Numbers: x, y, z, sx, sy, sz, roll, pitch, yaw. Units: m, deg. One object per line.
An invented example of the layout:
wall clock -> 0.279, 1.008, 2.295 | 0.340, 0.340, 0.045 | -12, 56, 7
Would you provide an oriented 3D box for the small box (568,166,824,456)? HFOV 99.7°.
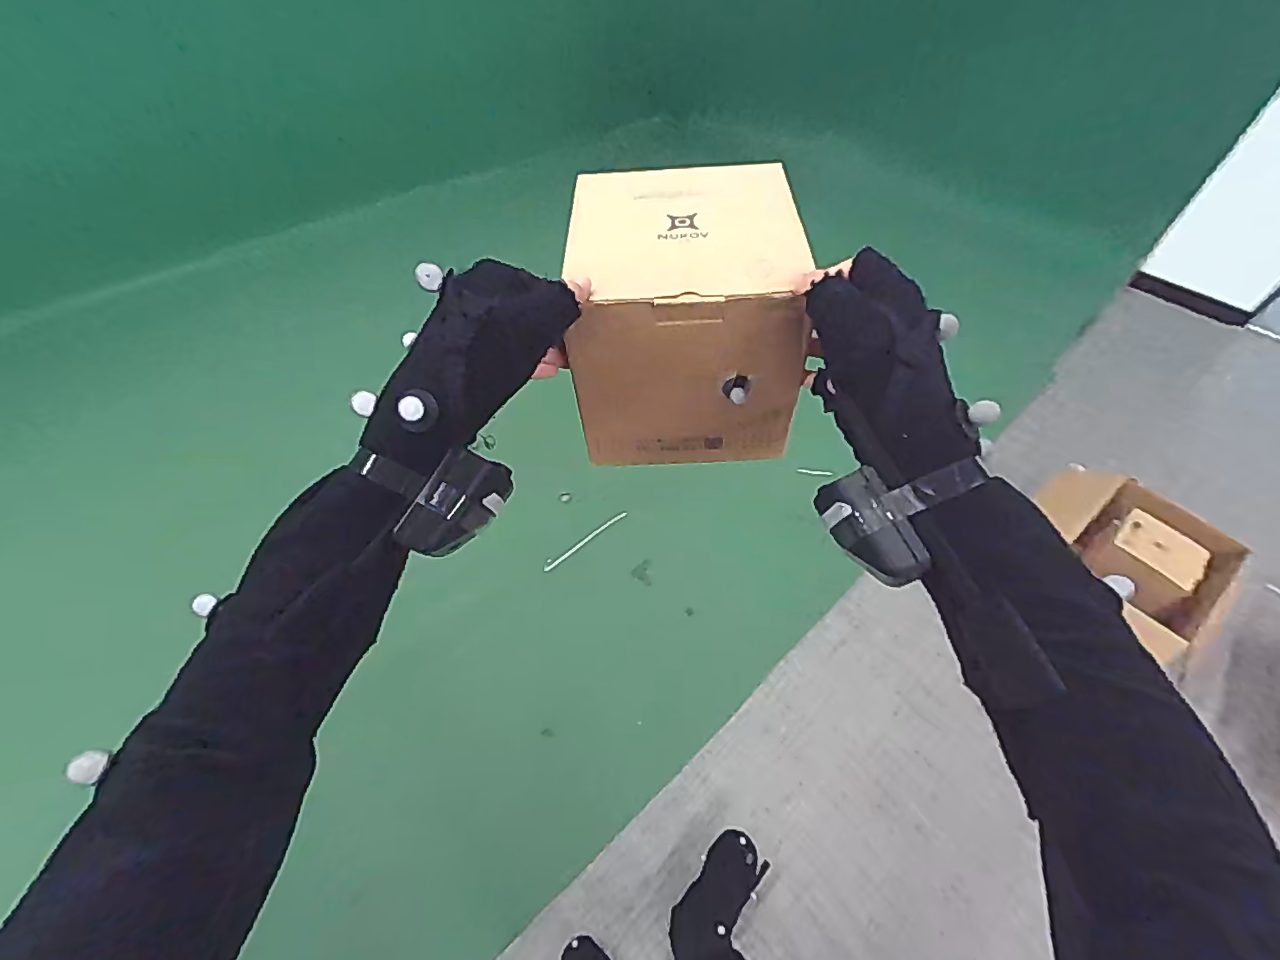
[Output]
small box -> 0.042, -0.132, 0.452 | 0.168, 0.176, 0.179 | -1, 52, 3
